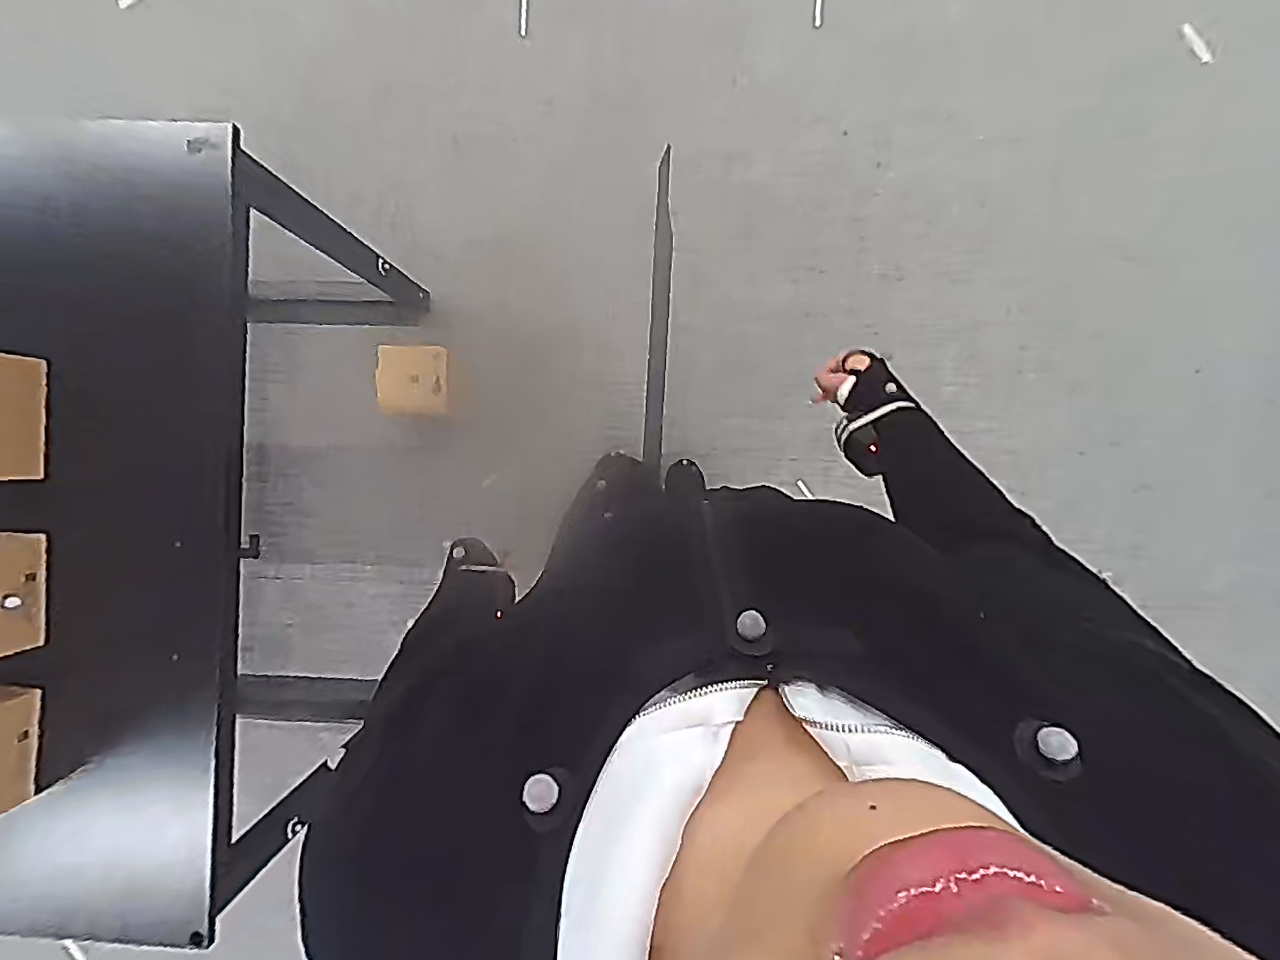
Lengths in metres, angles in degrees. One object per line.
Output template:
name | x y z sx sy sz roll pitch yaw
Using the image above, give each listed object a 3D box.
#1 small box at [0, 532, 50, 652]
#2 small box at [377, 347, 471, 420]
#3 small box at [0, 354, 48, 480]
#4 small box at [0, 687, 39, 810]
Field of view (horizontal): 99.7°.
small box | -0.958 0.158 0.714 0.179 0.176 0.168 2 91 1
small box | -0.565 -0.248 1.427 0.179 0.176 0.168 2 92 2
small box | -0.947 -0.090 0.712 0.168 0.176 0.179 3 92 3
small box | -0.974 0.382 0.718 0.179 0.176 0.168 6 90 1
